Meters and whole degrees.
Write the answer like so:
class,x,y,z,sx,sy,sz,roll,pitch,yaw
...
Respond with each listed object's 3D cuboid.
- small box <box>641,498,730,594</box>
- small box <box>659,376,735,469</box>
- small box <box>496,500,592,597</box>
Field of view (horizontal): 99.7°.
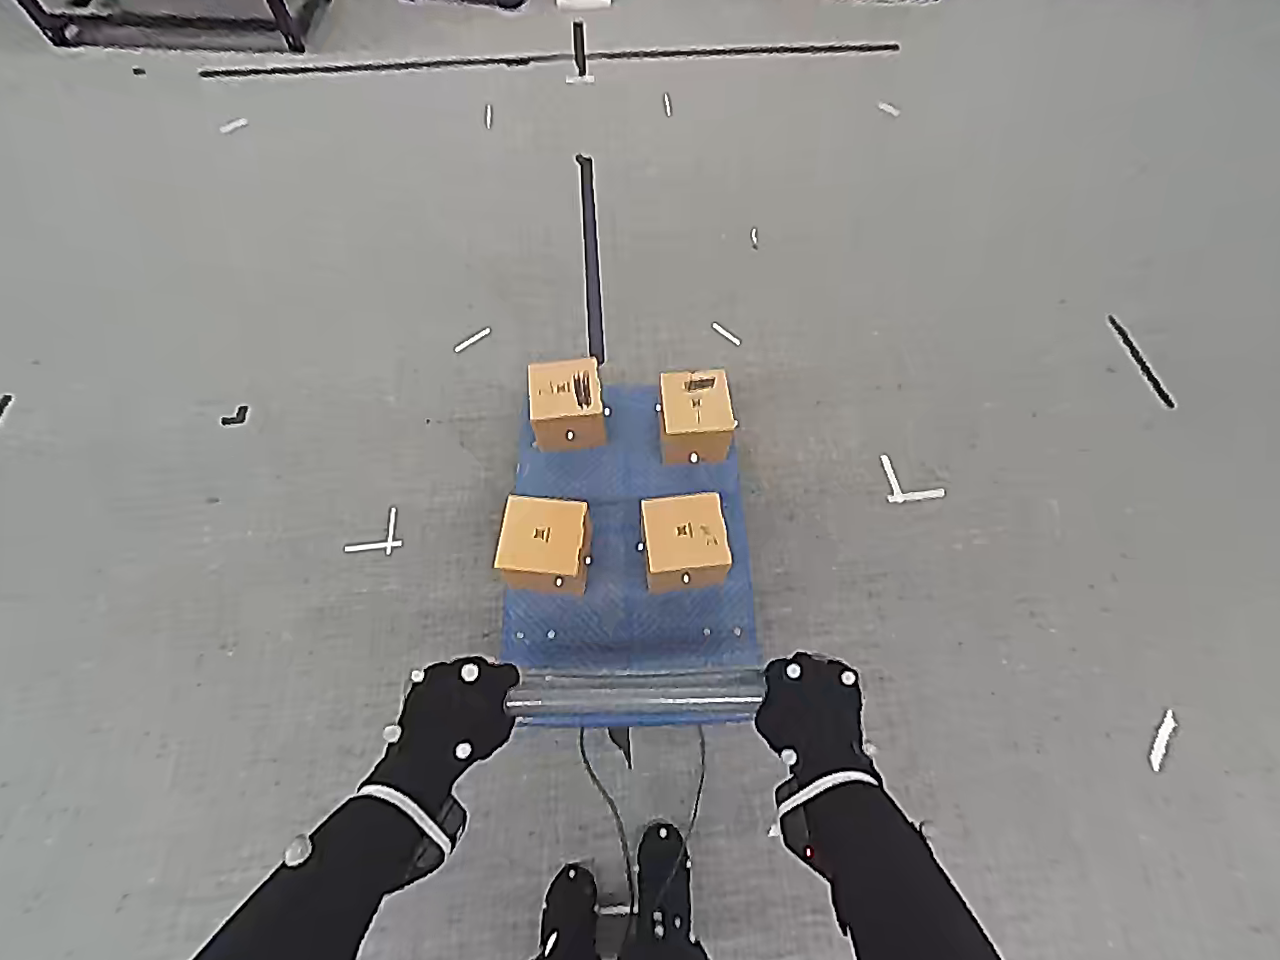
class,x,y,z,sx,sy,sz,roll,pitch,yaw
small box,0.098,0.155,1.235,0.179,0.176,0.168,-5,64,-3
small box,0.139,-0.145,1.385,0.168,0.176,0.179,-3,64,-2
small box,-0.209,0.160,1.229,0.179,0.176,0.168,5,63,0
